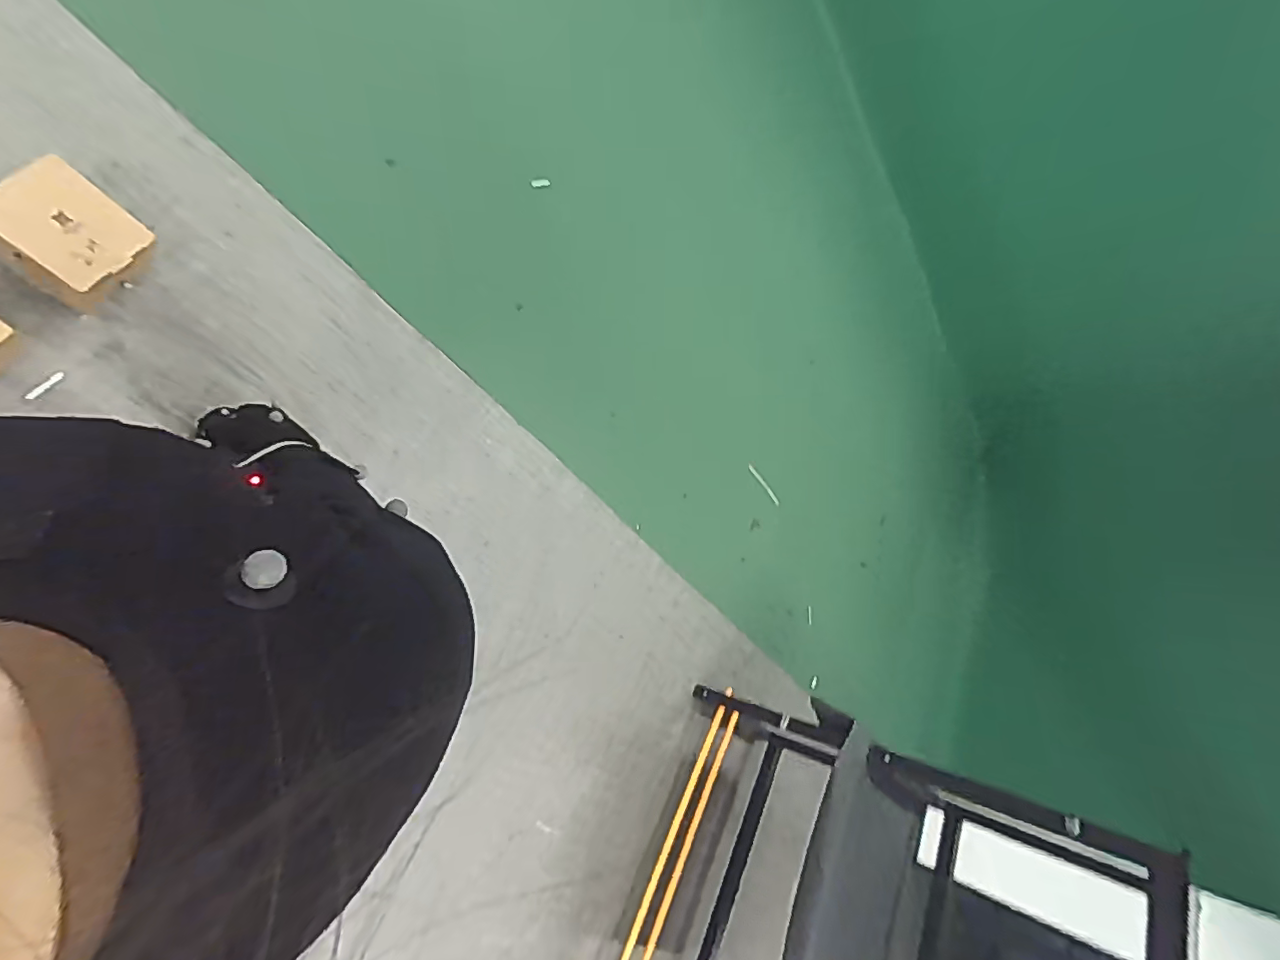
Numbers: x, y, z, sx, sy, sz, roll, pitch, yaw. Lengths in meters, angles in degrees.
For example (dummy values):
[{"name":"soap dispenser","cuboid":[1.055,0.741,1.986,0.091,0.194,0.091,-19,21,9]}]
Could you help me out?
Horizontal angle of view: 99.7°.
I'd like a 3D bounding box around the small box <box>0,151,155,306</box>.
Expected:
[{"name":"small box","cuboid":[-1.053,-0.451,0.997,0.179,0.176,0.168,47,60,-33]}]
